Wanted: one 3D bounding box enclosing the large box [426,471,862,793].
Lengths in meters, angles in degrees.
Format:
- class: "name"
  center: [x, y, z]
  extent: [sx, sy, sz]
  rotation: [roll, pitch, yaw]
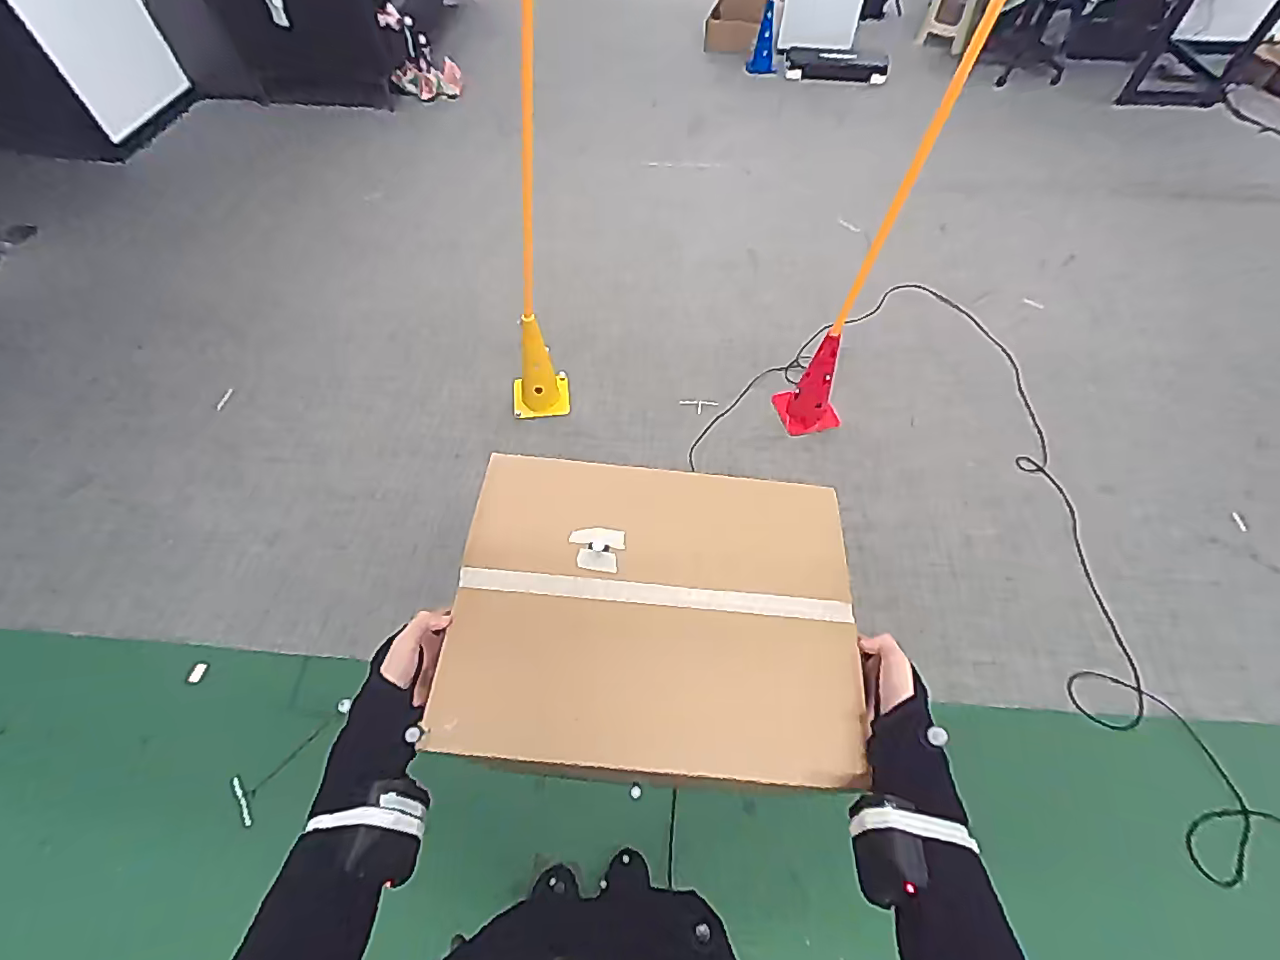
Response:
- class: "large box"
  center: [0.009, 0.210, 0.690]
  extent: [0.408, 0.320, 0.320]
  rotation: [5, 58, 0]
